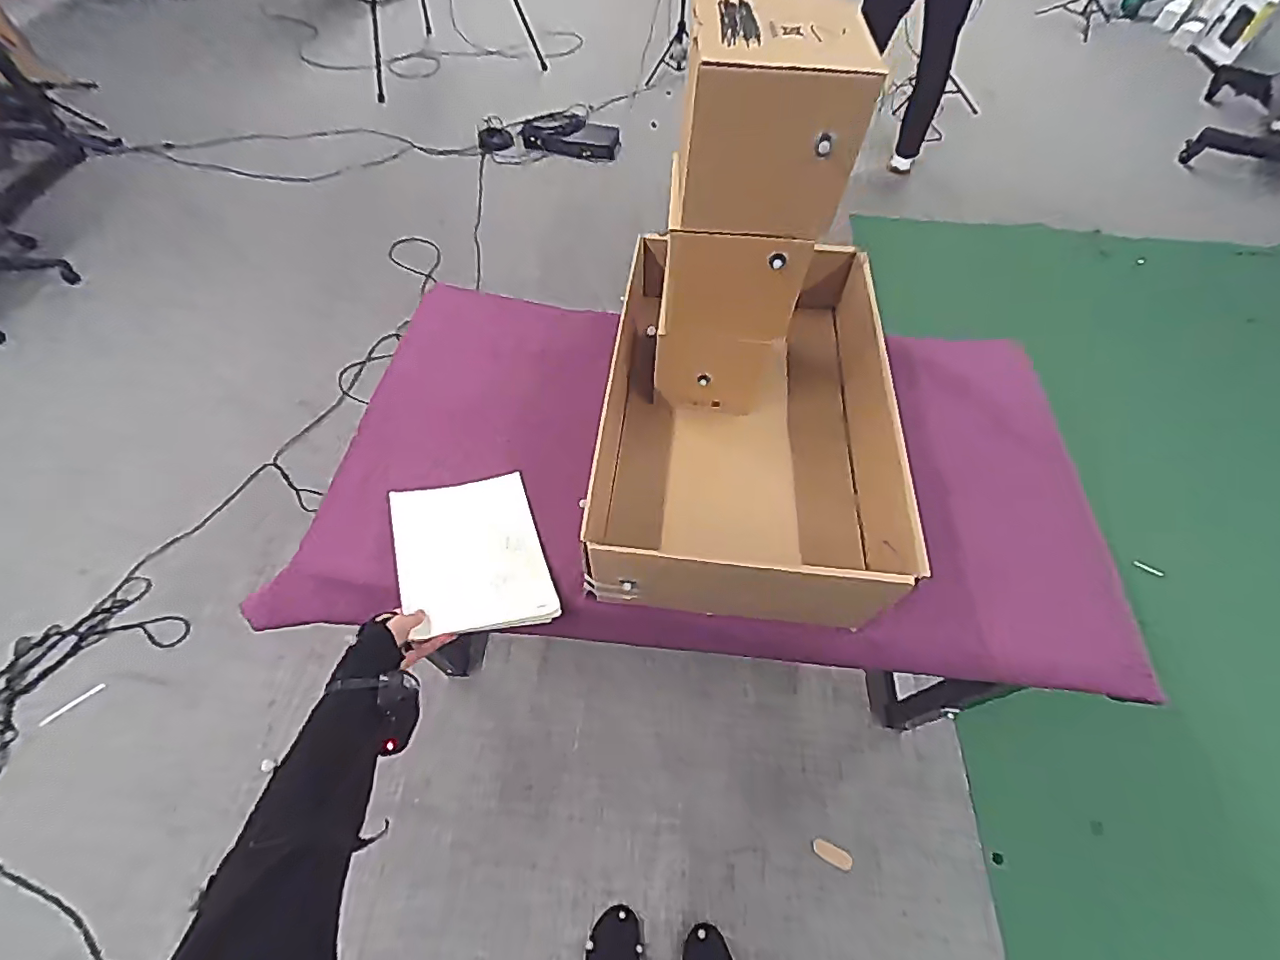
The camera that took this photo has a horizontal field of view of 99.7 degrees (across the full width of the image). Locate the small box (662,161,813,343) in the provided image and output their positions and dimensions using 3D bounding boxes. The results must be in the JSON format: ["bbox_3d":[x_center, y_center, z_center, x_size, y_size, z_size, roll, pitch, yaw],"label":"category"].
[{"bbox_3d":[0.122,-0.307,0.741,0.179,0.176,0.168,4,59,1],"label":"small box"}]

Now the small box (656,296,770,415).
[{"bbox_3d":[0.115,-0.225,0.880,0.168,0.176,0.179,6,59,3],"label":"small box"}]
